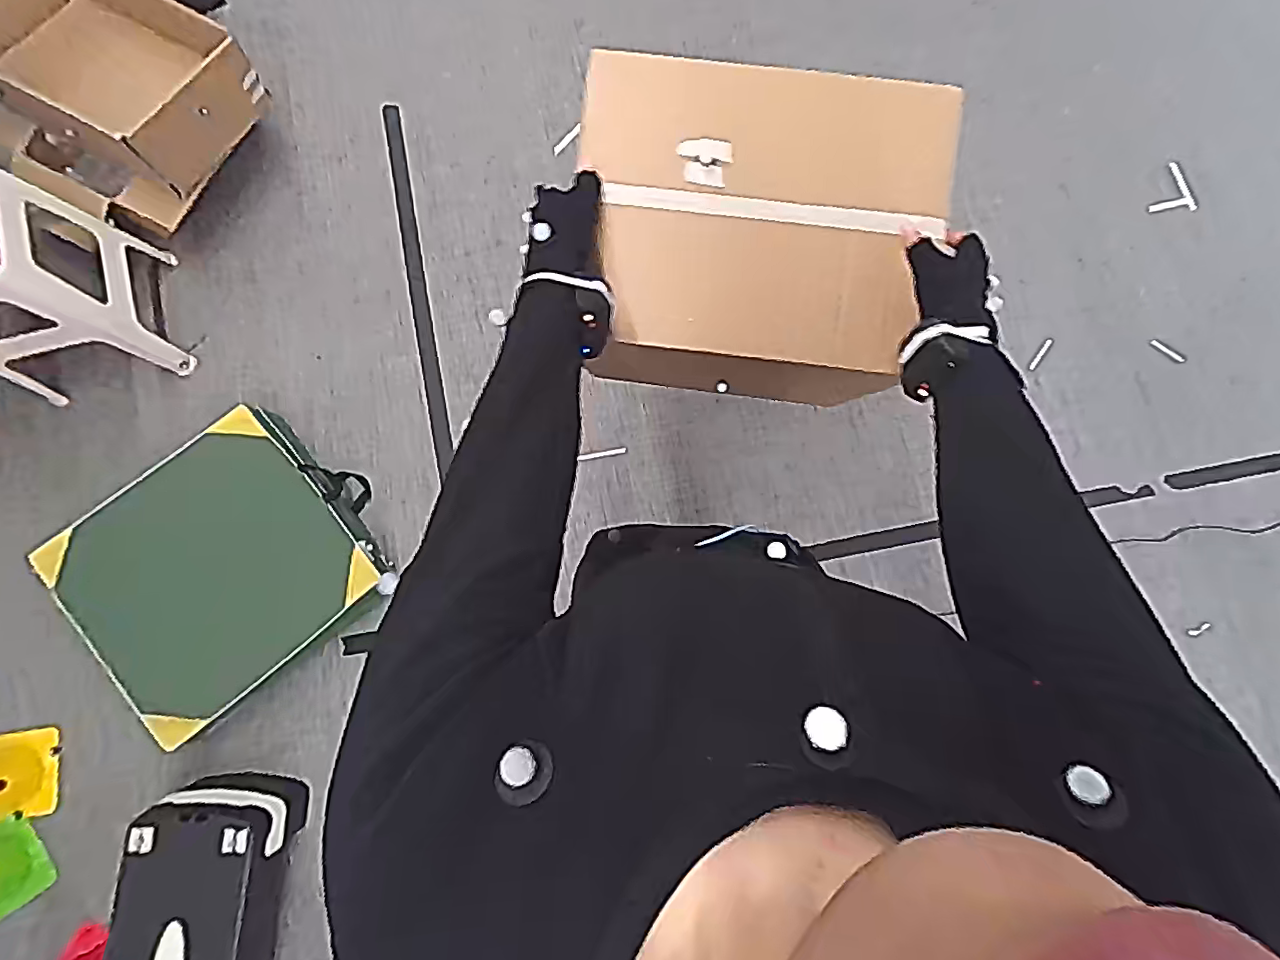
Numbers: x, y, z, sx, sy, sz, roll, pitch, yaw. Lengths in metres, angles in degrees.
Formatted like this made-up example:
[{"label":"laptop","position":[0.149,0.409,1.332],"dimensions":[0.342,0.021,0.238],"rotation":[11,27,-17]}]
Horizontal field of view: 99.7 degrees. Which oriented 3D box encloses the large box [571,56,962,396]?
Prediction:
[{"label":"large box","position":[0.144,-0.303,0.748],"dimensions":[0.408,0.320,0.320],"rotation":[8,92,2]}]
